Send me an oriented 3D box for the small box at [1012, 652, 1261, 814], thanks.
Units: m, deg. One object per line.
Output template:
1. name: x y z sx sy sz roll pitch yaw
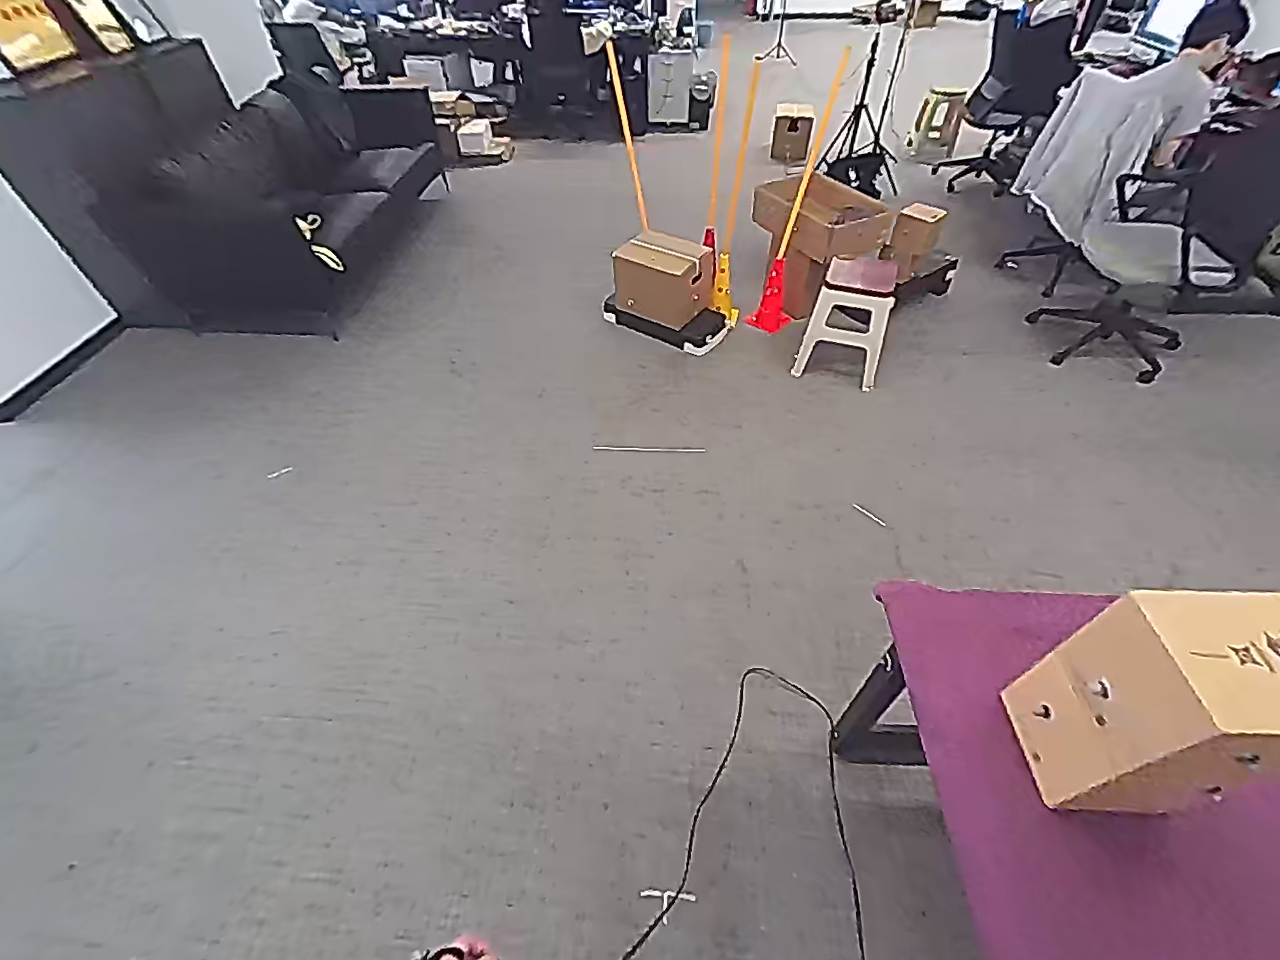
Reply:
1. small box: 0.666 0.358 0.762 0.179 0.176 0.168 1 48 2

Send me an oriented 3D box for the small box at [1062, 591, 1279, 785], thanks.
1. small box: 0.665 0.248 0.640 0.179 0.176 0.168 1 47 3
